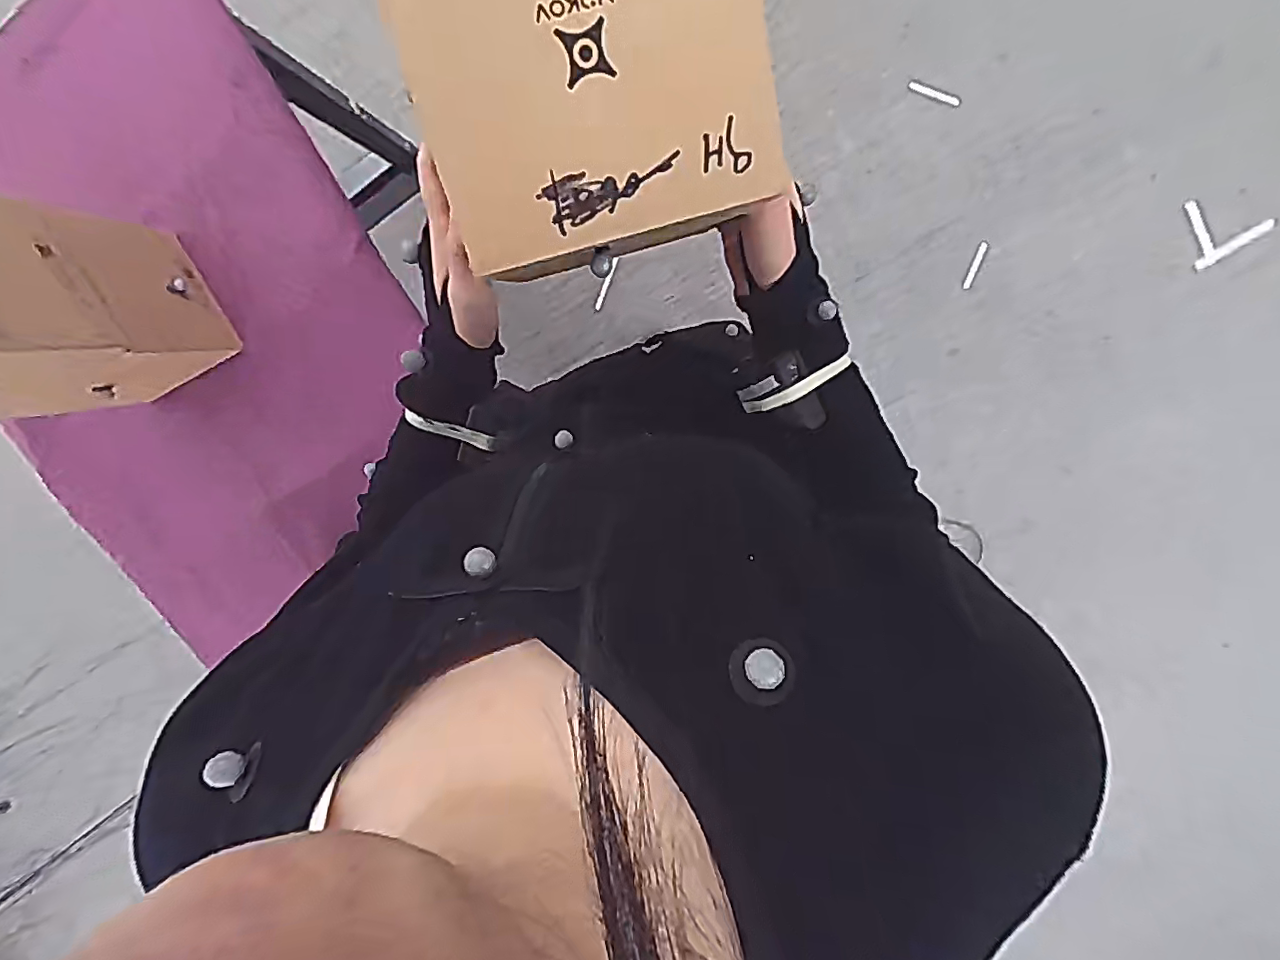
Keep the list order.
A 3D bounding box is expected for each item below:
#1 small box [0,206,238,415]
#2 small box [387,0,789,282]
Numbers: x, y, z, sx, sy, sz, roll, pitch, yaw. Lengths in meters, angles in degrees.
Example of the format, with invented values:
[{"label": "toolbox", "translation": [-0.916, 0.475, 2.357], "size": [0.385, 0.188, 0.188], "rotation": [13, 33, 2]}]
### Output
[{"label": "small box", "translation": [-0.654, -0.196, 0.656], "size": [0.179, 0.176, 0.168], "rotation": [-24, 103, 10]}, {"label": "small box", "translation": [-0.030, -0.225, 0.315], "size": [0.168, 0.176, 0.179], "rotation": [-15, 110, 1]}]
